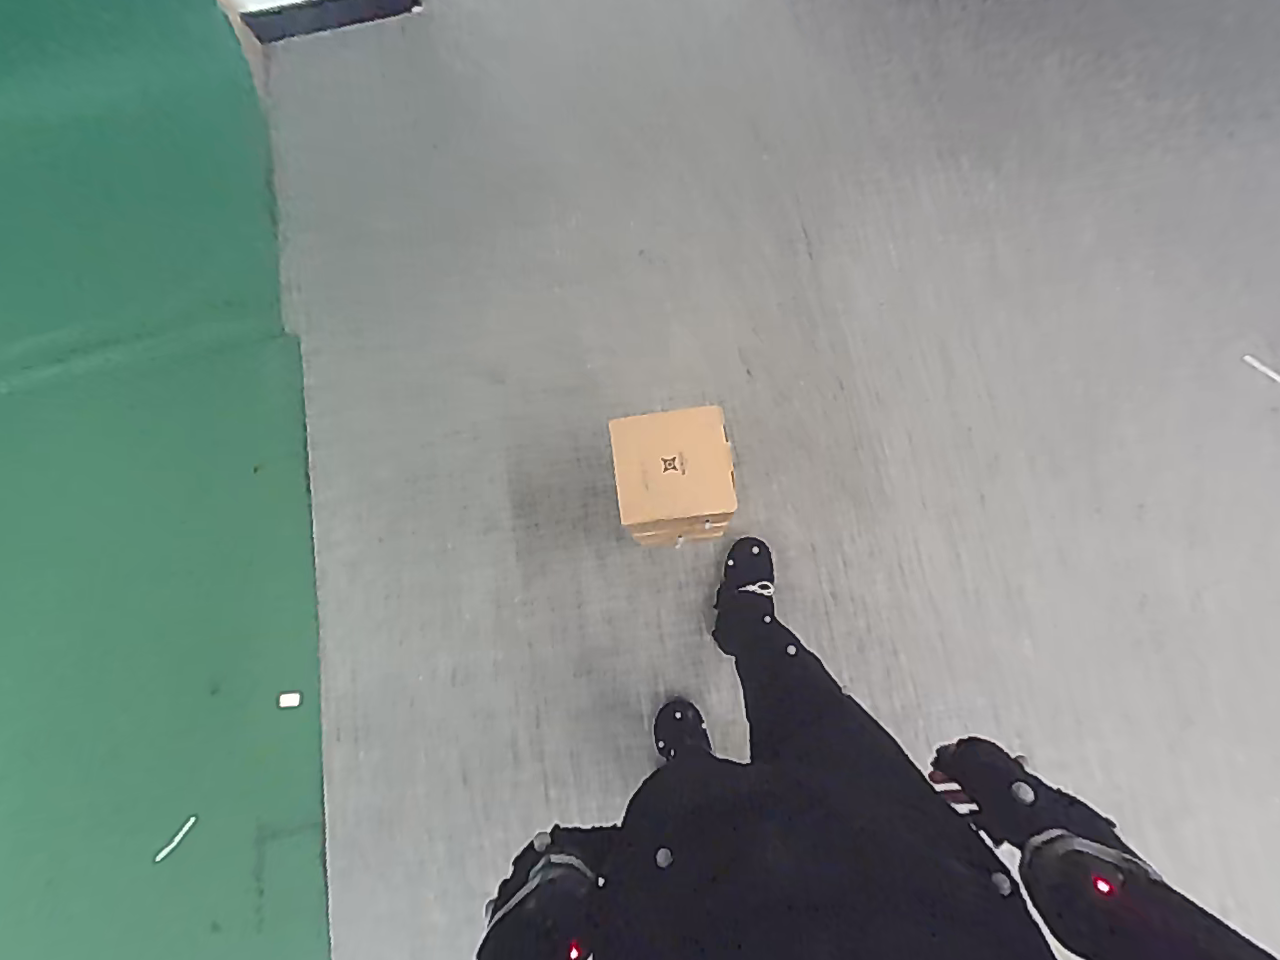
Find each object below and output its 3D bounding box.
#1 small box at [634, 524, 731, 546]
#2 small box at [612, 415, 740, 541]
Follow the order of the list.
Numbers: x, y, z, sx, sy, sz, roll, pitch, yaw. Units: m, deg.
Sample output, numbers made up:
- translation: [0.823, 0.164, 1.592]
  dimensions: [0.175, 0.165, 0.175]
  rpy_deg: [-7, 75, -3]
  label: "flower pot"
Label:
- translation: [0.071, 0.036, 1.045]
  dimensions: [0.179, 0.176, 0.168]
  rpy_deg: [-7, 80, 3]
  label: "small box"
- translation: [0.056, 0.004, 0.887]
  dimensions: [0.179, 0.176, 0.168]
  rpy_deg: [-9, 79, 3]
  label: "small box"
